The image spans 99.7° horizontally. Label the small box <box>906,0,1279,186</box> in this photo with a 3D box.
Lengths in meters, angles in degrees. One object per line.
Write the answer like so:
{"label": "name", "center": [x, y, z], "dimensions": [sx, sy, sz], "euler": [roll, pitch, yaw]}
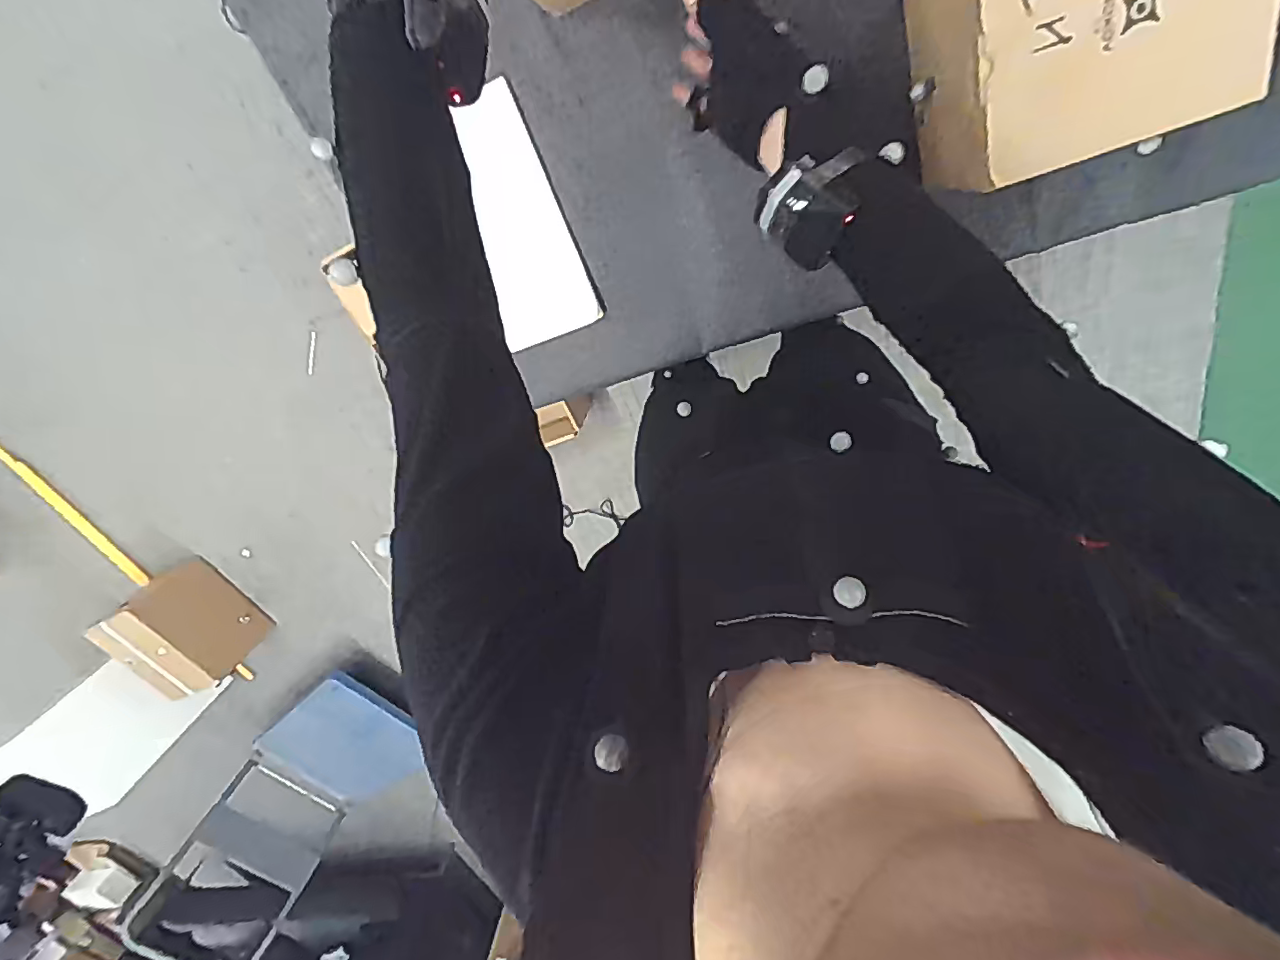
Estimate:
{"label": "small box", "center": [0.334, -0.355, 0.430], "dimensions": [0.179, 0.176, 0.168], "euler": [-13, 116, 17]}
